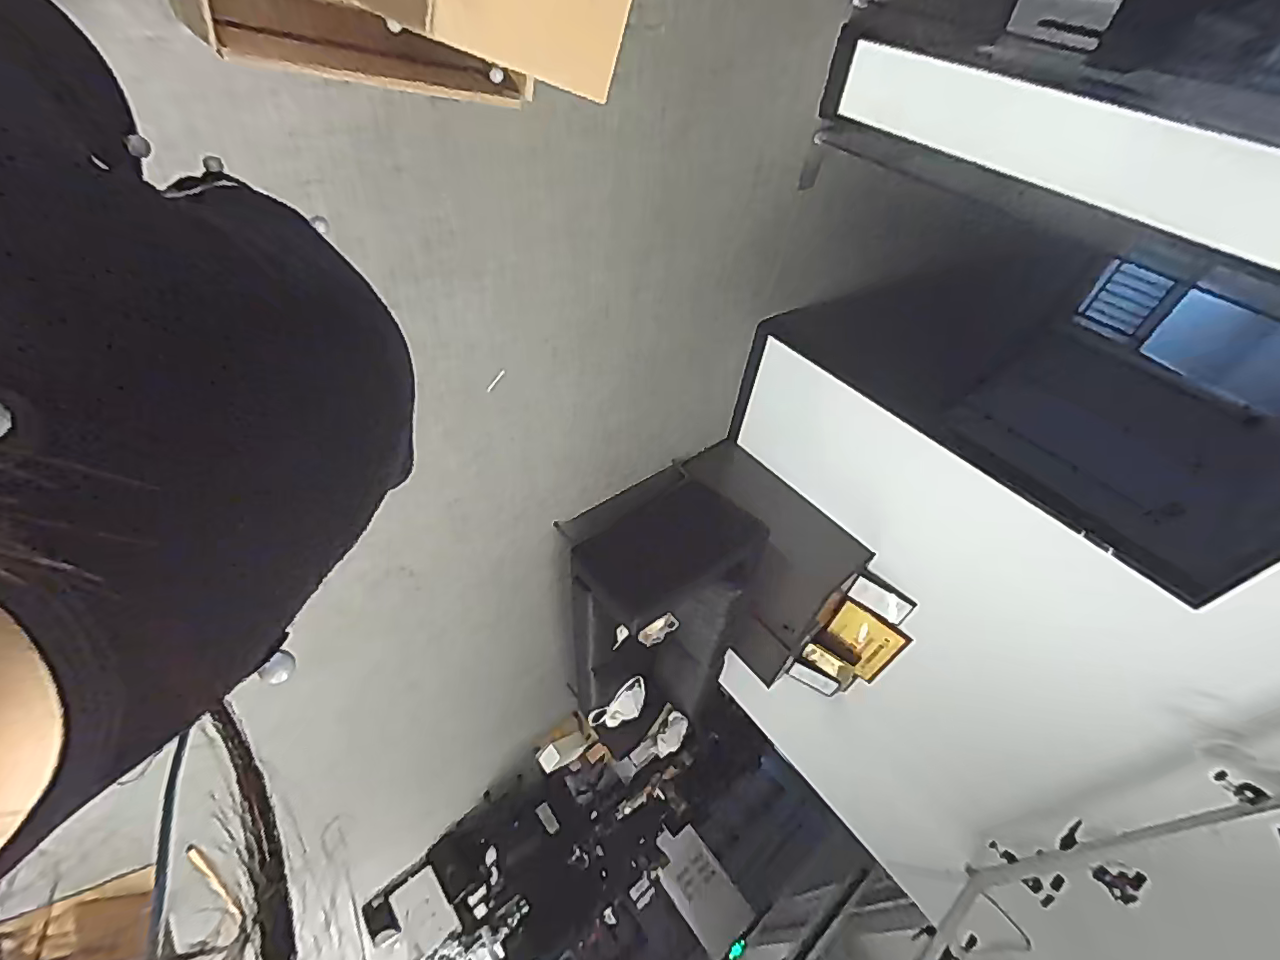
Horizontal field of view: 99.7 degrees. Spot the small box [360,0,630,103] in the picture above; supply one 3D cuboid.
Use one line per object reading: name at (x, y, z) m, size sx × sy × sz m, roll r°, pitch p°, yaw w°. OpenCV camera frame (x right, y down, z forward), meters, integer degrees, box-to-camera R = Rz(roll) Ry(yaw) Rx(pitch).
small box at (-0.119, -0.445, 0.439) m, size 0.179 × 0.176 × 0.168 m, roll -15°, pitch 139°, yaw -43°
